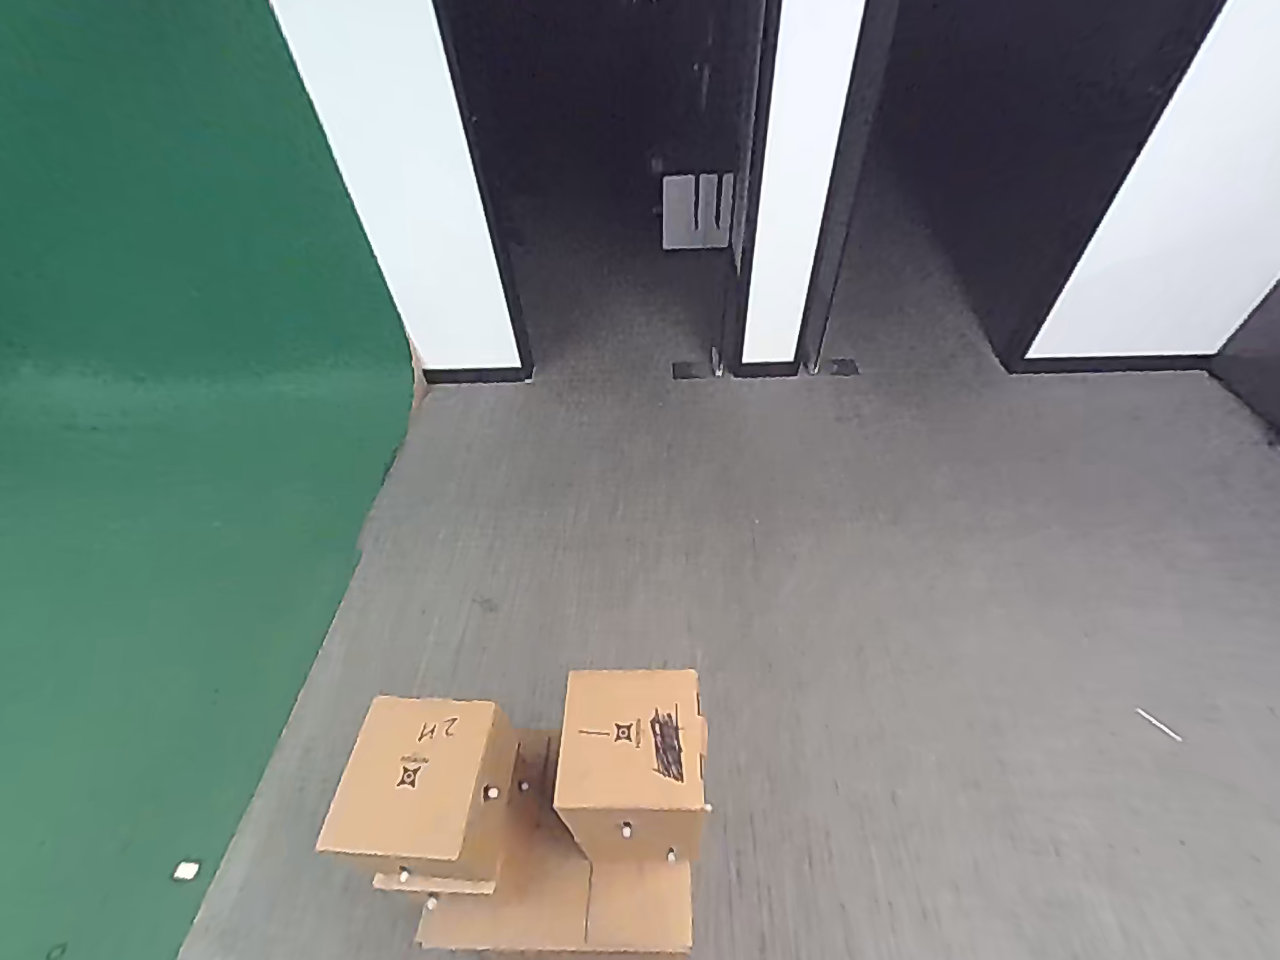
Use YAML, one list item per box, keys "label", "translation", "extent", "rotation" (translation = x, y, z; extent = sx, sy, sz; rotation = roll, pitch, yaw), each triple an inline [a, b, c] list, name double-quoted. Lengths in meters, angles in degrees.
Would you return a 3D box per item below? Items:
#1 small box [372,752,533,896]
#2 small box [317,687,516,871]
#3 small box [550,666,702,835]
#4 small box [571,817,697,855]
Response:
- label: "small box"
  translation: [-0.269, 0.517, 0.826]
  extent: [0.168, 0.176, 0.179]
  rotation: [2, 48, 3]
- label: "small box"
  translation: [-0.273, 0.397, 0.714]
  extent: [0.168, 0.176, 0.179]
  rotation: [3, 48, 4]
- label: "small box"
  translation: [-0.009, 0.366, 0.730]
  extent: [0.179, 0.176, 0.168]
  rotation: [-1, 47, 5]
- label: "small box"
  translation: [-0.003, 0.477, 0.851]
  extent: [0.179, 0.176, 0.168]
  rotation: [-2, 47, 4]
